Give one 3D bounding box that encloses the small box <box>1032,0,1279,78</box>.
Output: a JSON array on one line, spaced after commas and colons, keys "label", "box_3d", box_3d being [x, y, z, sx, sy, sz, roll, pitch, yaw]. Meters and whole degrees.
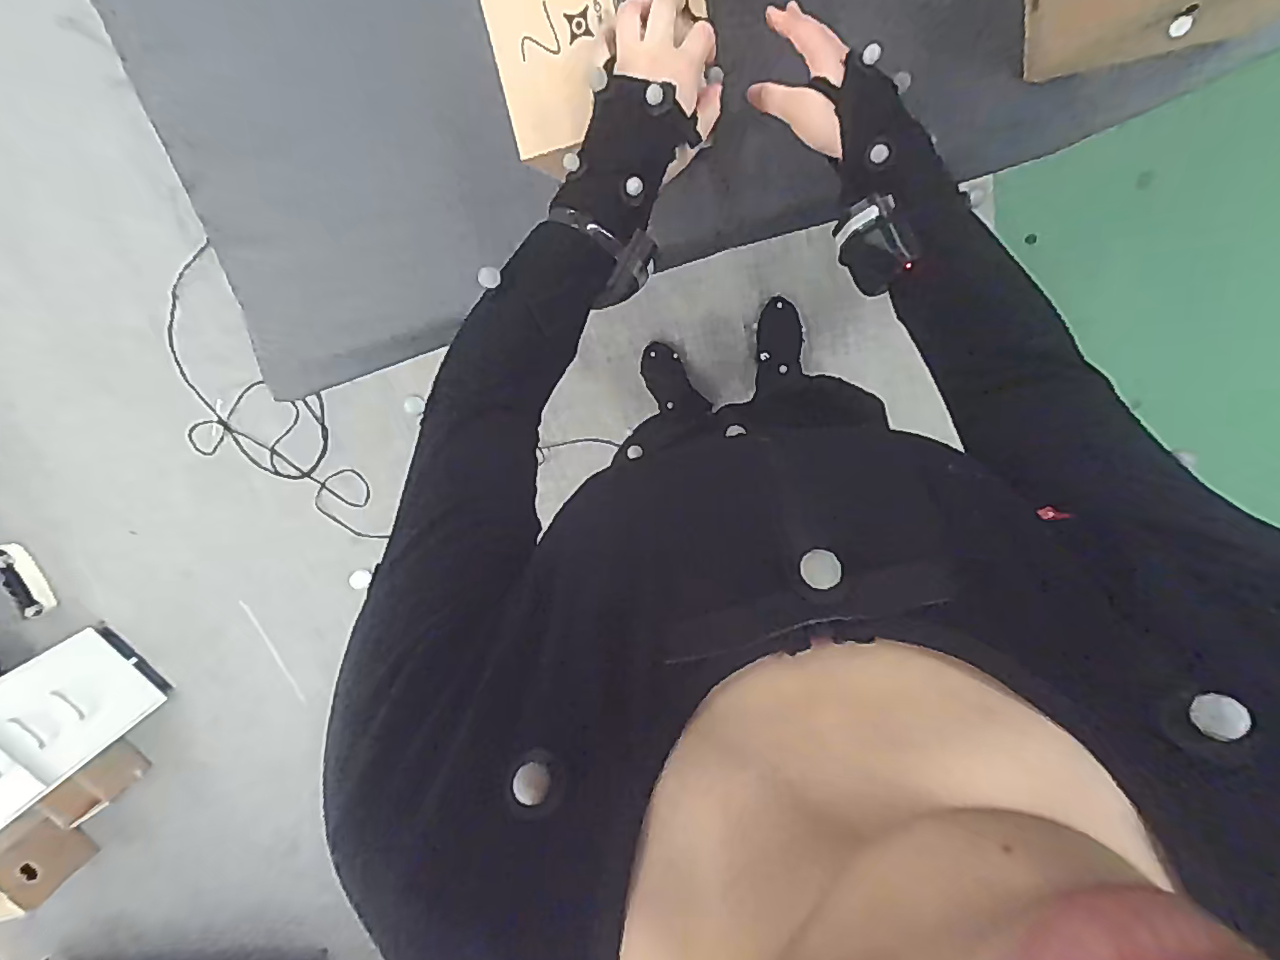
[{"label": "small box", "box_3d": [0.442, -0.453, 0.422, 0.179, 0.176, 0.168, -6, 108, 13]}]
